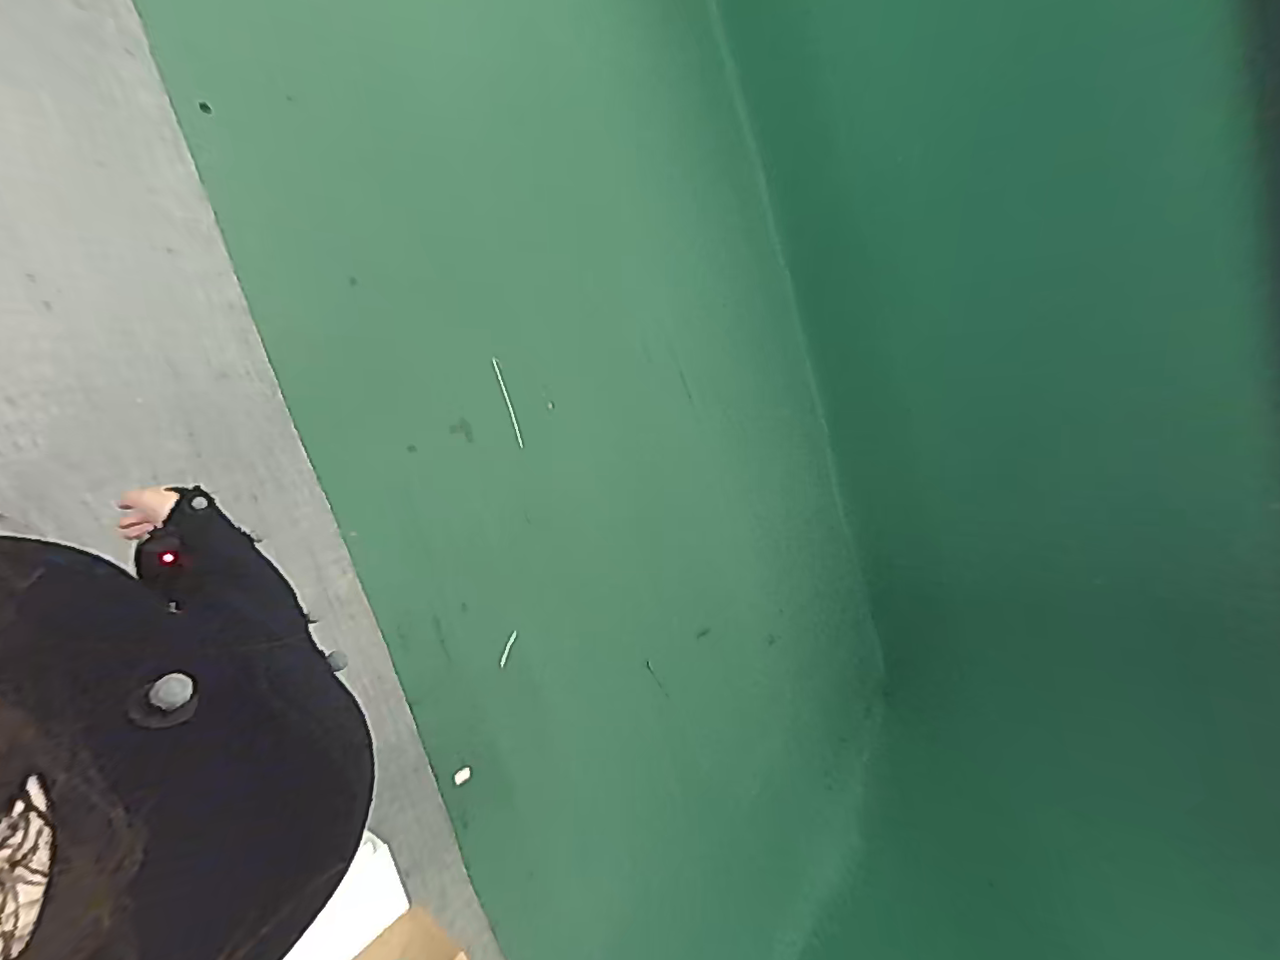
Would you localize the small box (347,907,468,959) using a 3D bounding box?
[{"bbox_3d":[-0.352,0.787,0.791,0.179,0.176,0.168,-25,101,-47],"label":"small box"}]
